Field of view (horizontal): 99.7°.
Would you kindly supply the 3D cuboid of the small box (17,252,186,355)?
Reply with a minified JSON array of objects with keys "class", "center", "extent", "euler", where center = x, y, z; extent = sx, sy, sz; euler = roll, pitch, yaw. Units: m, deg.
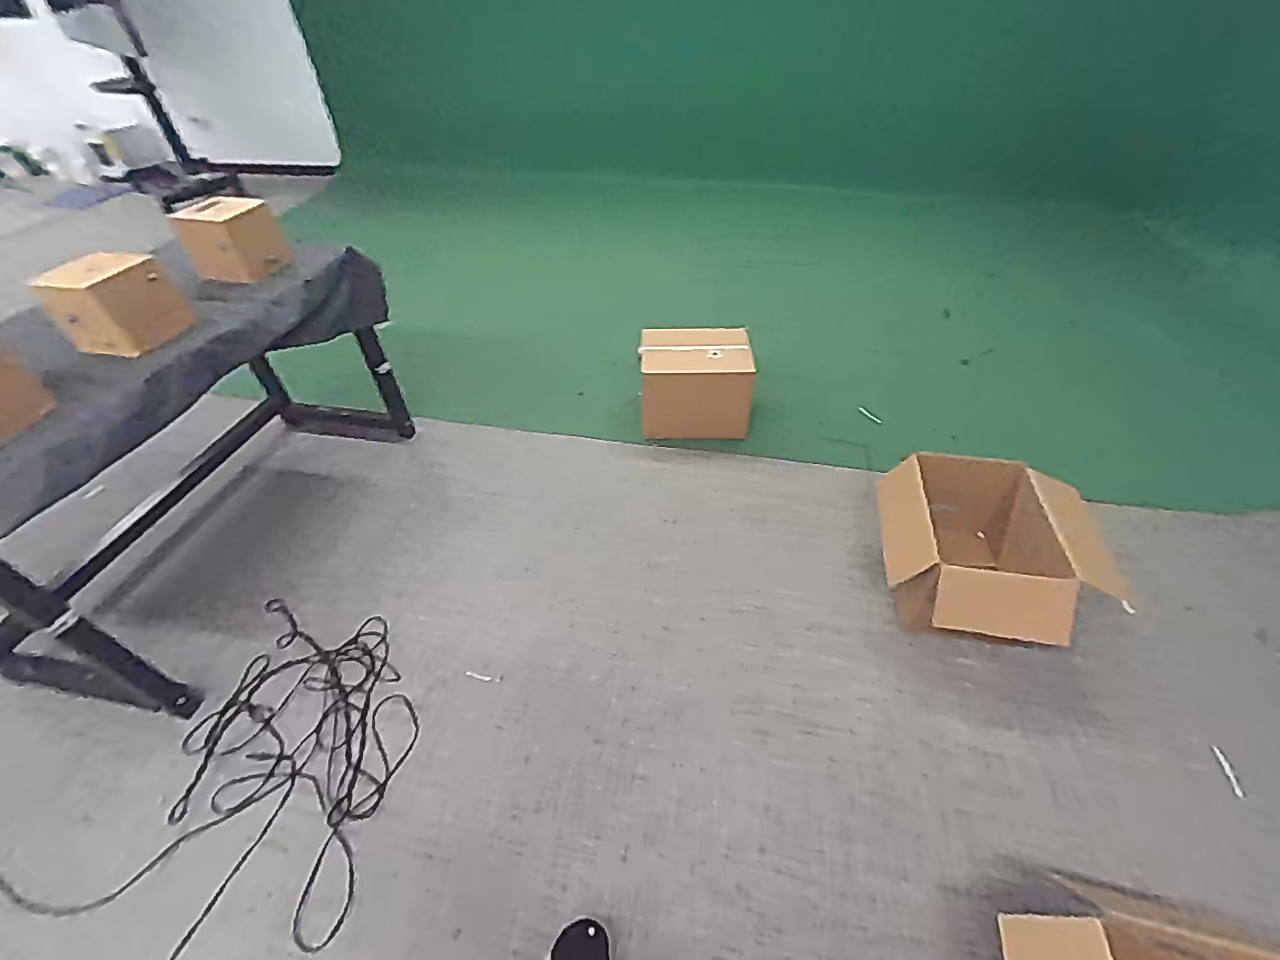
[{"class":"small box","center":[-1.201,-0.399,1.226],"extent":[0.168,0.176,0.179],"euler":[7,44,9]}]

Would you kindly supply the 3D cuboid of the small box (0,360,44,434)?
[{"class":"small box","center":[-1.272,-0.156,0.973],"extent":[0.168,0.176,0.179],"euler":[7,43,7]}]
